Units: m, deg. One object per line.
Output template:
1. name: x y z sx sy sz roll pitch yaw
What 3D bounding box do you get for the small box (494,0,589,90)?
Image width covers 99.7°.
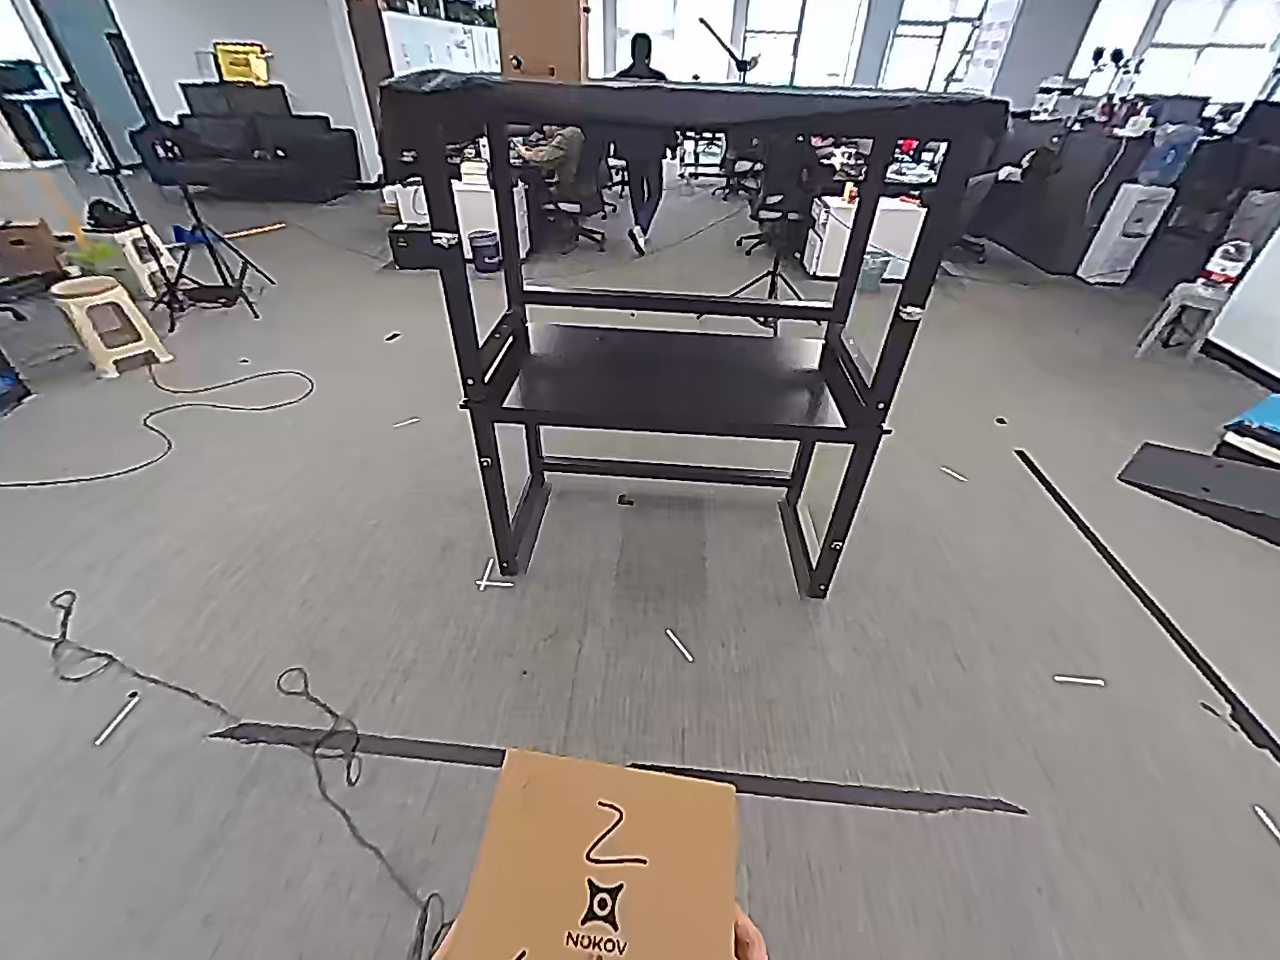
1. small box: -0.195 -0.914 1.120 0.168 0.176 0.179 3 36 -1
